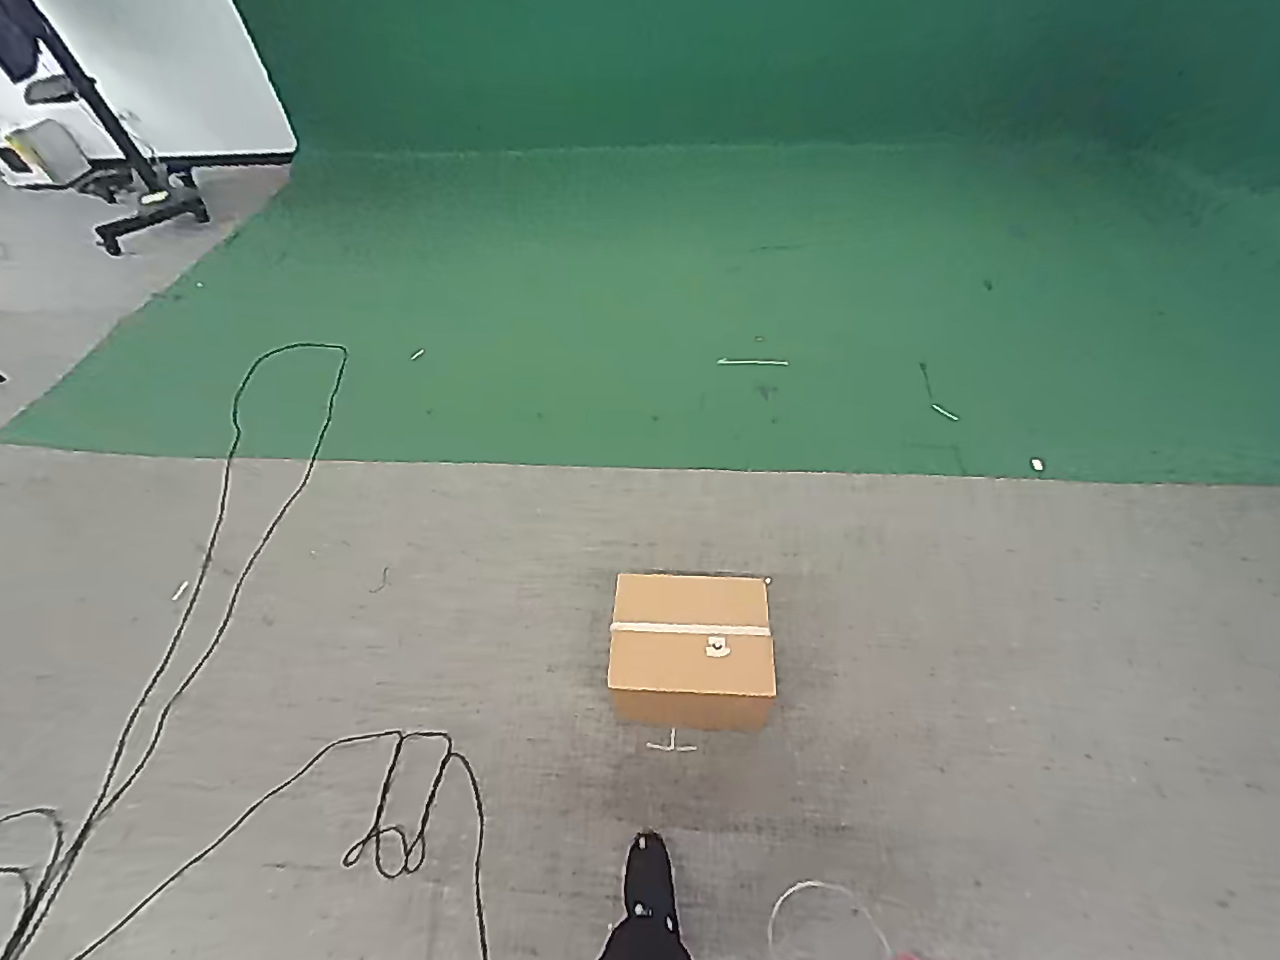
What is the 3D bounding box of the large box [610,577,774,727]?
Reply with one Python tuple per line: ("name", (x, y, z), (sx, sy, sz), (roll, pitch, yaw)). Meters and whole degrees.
("large box", (0.131, 0.481, 1.504), (0.408, 0.320, 0.320), (0, 51, 3))
